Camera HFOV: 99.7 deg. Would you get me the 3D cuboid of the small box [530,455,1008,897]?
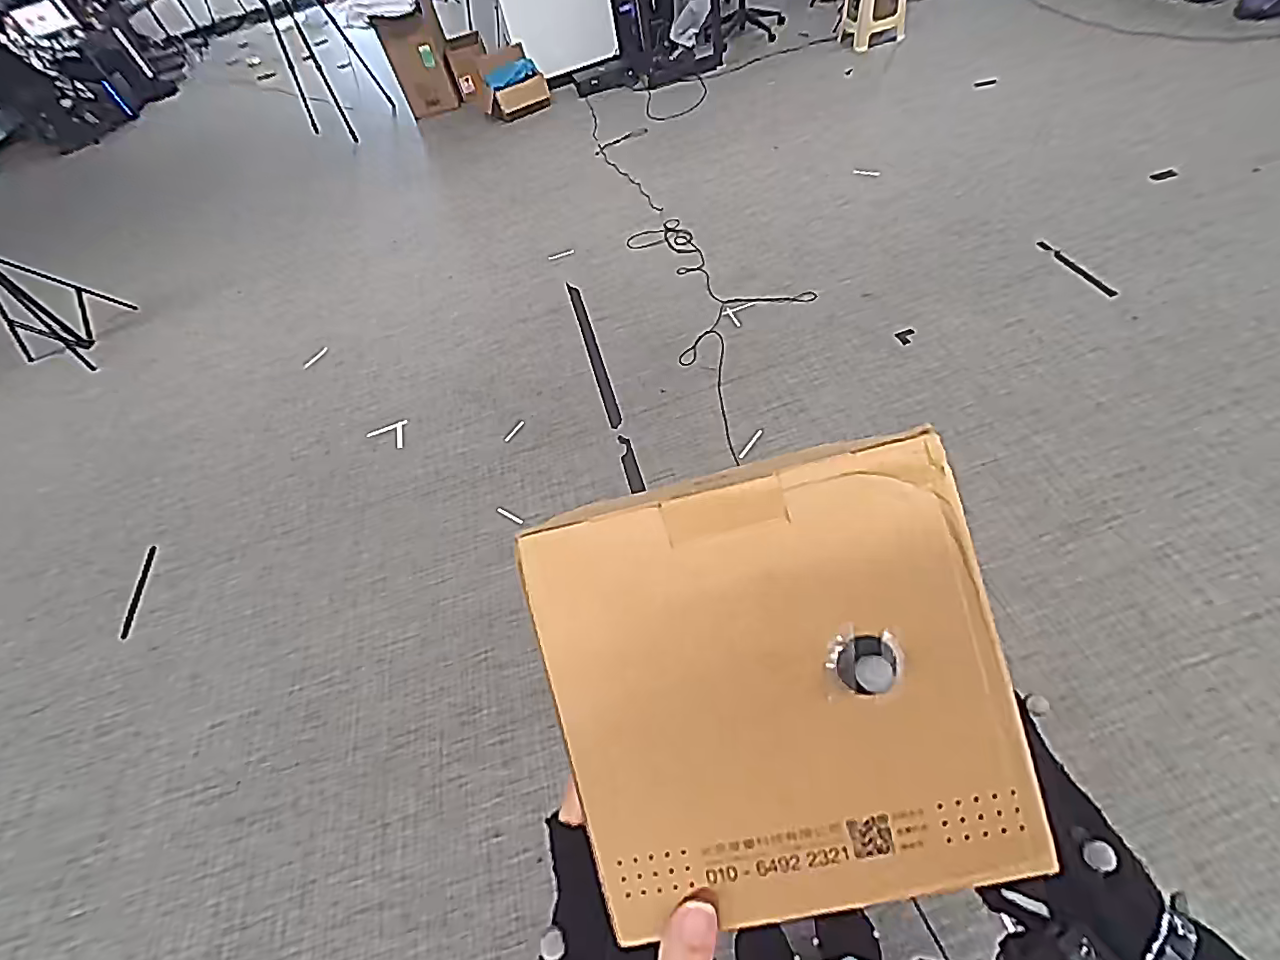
[{"bbox_3d":[0.062,0.090,0.300,0.168,0.179,0.176,-15,90,8],"label":"small box"}]
